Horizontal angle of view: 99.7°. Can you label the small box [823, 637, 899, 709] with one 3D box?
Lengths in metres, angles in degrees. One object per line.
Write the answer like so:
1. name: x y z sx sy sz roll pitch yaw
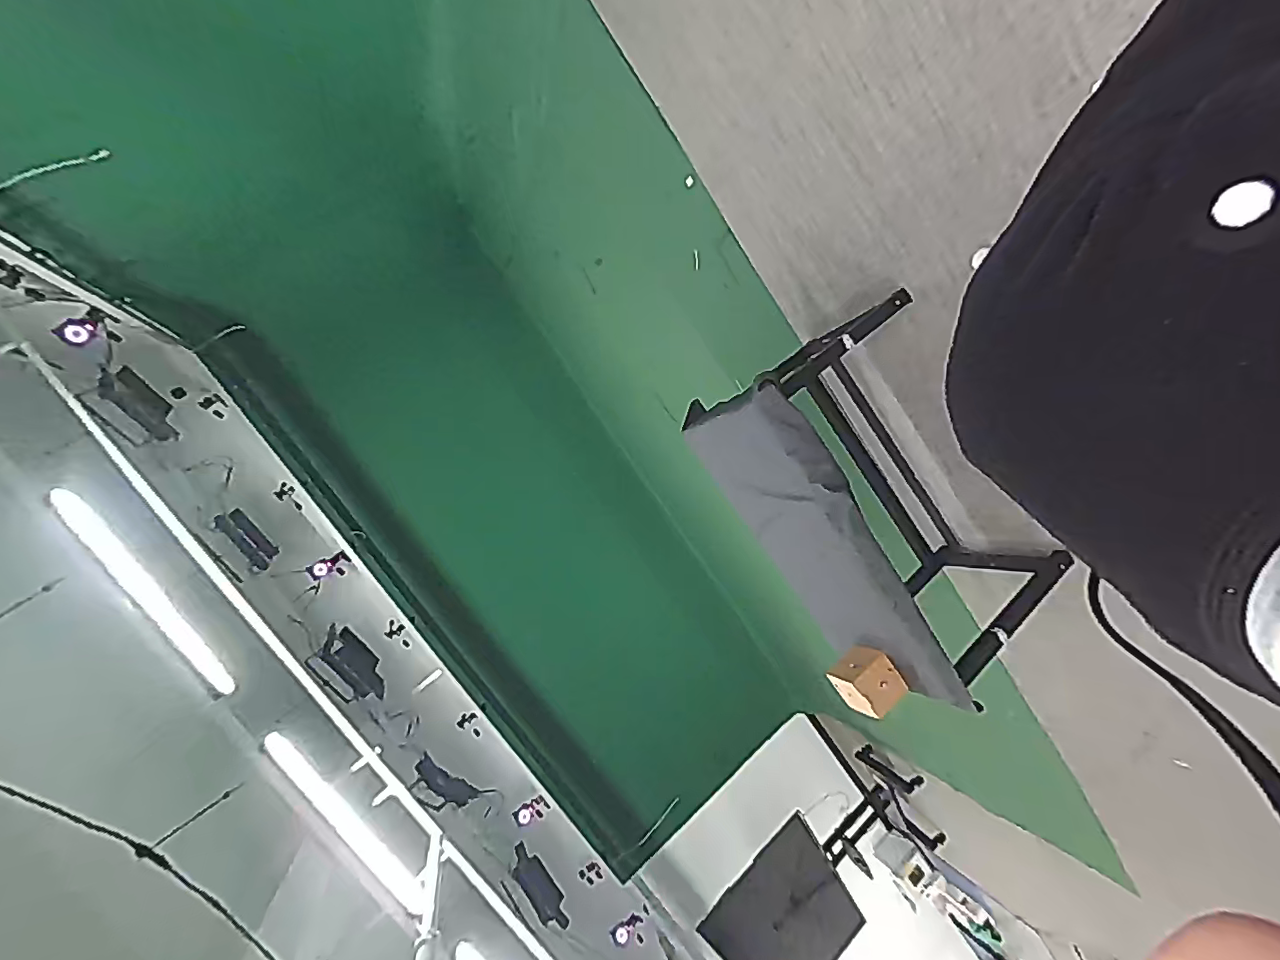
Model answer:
1. small box: 0.825 0.706 2.003 0.168 0.176 0.179 54 164 -3
